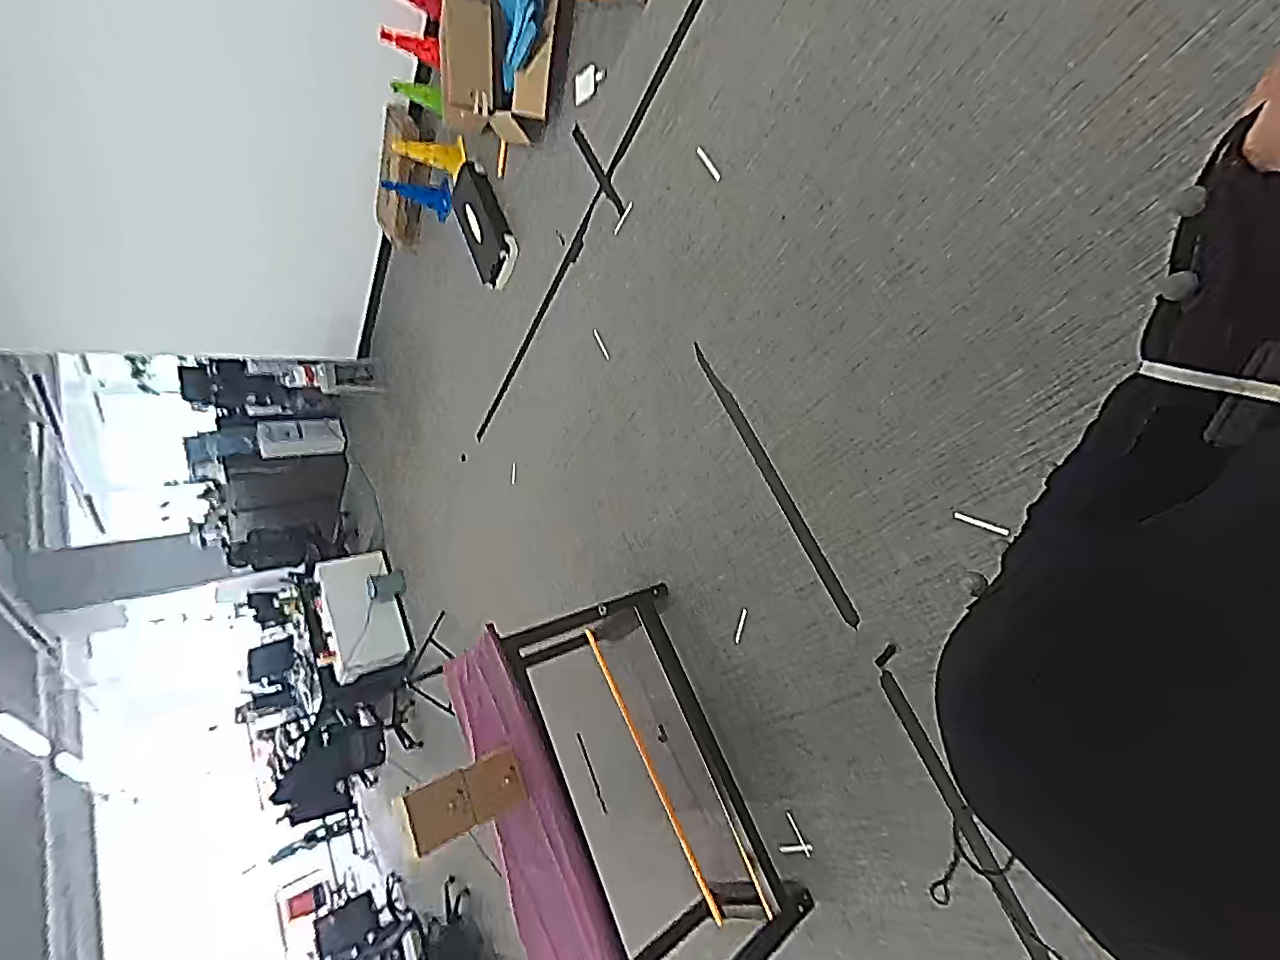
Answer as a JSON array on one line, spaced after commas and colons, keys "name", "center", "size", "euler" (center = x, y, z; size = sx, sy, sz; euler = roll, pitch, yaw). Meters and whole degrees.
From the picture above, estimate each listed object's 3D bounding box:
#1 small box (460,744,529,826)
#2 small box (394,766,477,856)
[{"name": "small box", "center": [-0.468, 0.944, 1.678], "size": [0.179, 0.176, 0.168], "euler": [-43, 65, 45]}, {"name": "small box", "center": [-0.596, 0.961, 1.574], "size": [0.179, 0.176, 0.168], "euler": [-43, 65, 45]}]
